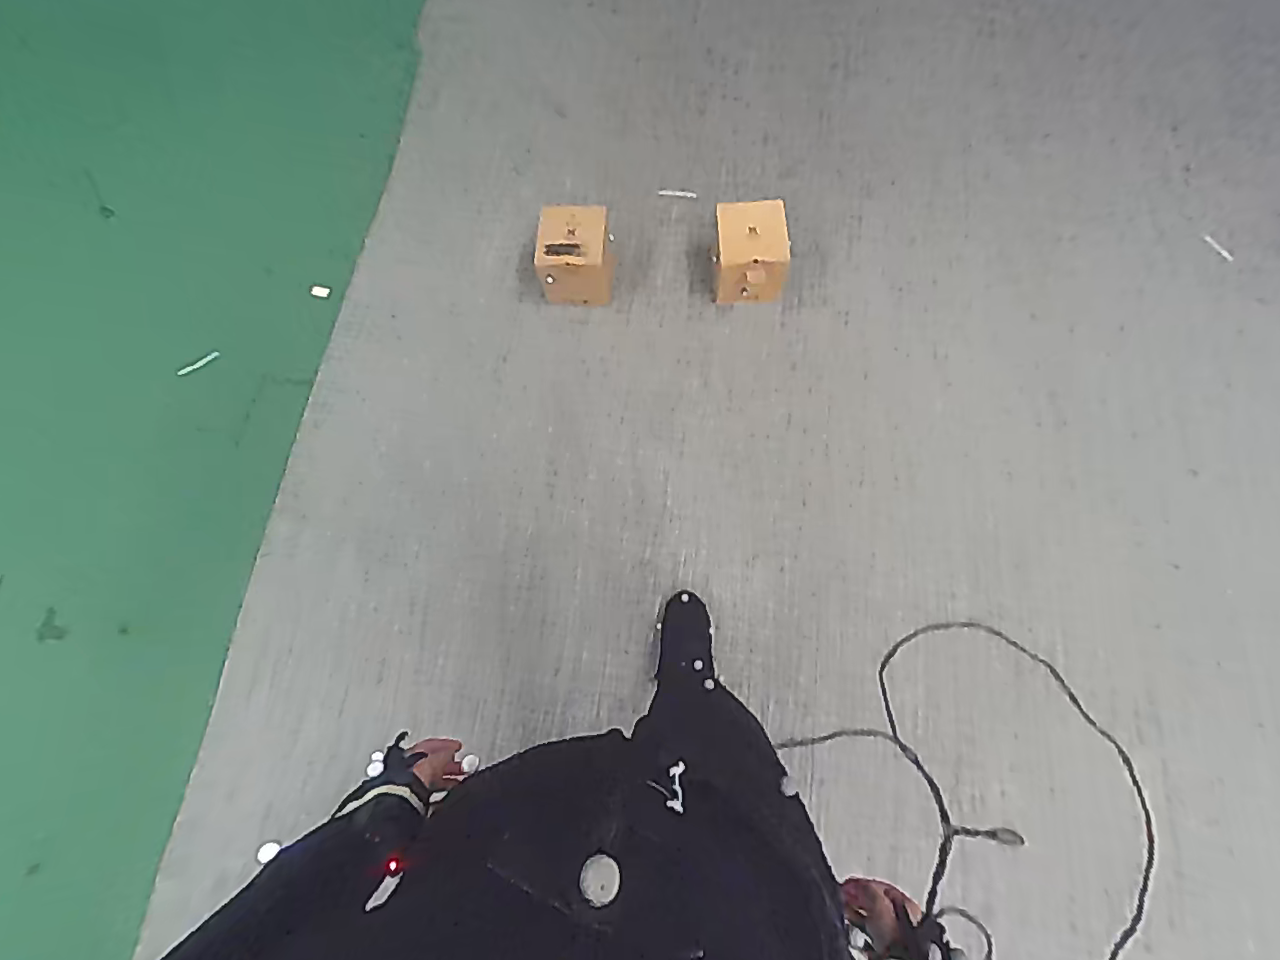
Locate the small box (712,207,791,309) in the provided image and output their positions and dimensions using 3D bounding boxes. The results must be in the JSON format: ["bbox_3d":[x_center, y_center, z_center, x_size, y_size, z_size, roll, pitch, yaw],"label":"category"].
[{"bbox_3d":[0.277,-0.560,1.378,0.168,0.176,0.179,-3,74,2],"label":"small box"}]
